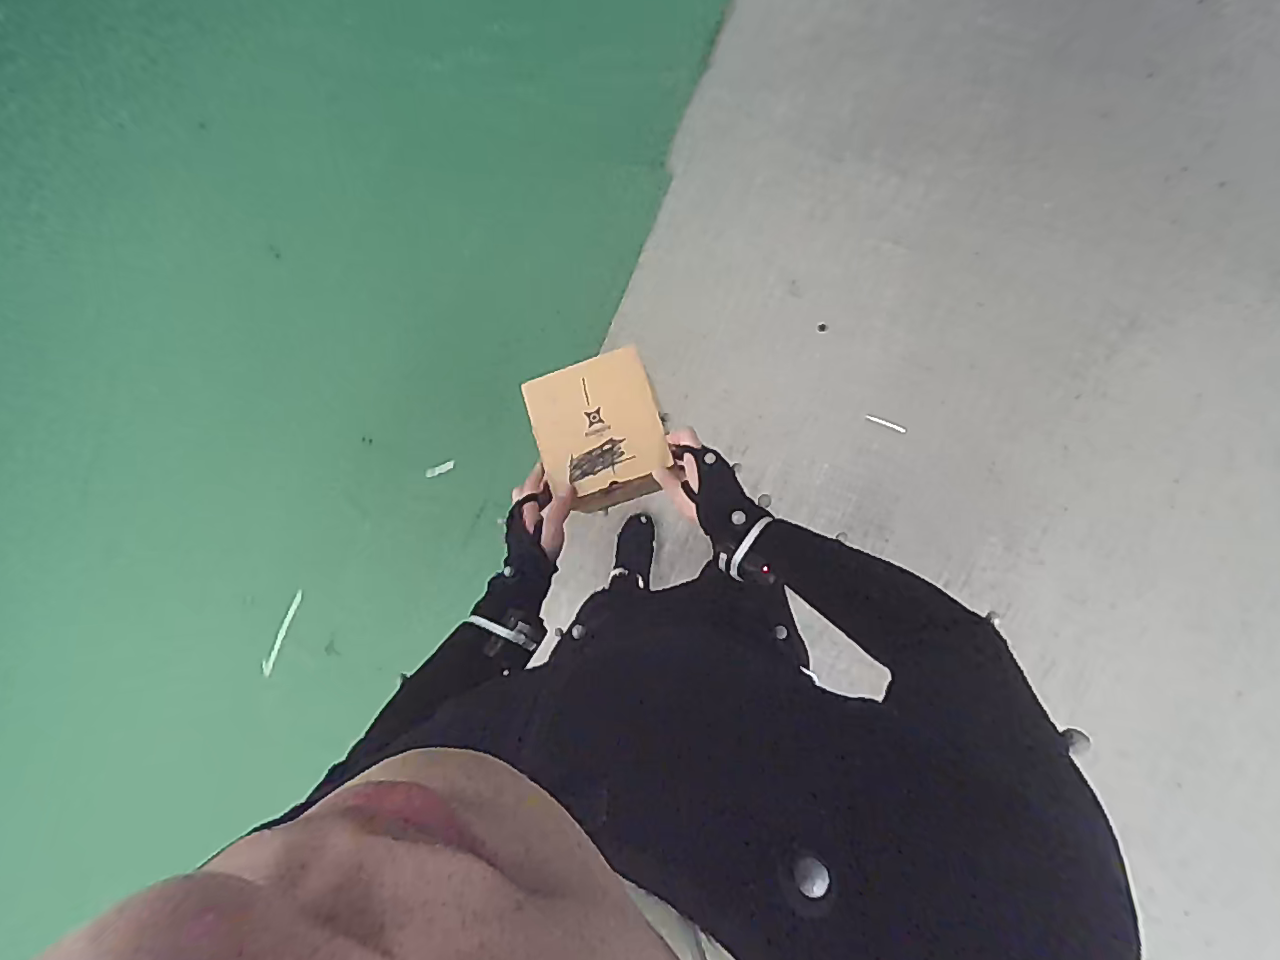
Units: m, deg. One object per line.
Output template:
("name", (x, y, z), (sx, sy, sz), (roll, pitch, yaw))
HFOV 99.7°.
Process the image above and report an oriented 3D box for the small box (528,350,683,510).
("small box", (-0.041, -0.060, 0.797), (0.168, 0.176, 0.179), (-19, 80, 5))
